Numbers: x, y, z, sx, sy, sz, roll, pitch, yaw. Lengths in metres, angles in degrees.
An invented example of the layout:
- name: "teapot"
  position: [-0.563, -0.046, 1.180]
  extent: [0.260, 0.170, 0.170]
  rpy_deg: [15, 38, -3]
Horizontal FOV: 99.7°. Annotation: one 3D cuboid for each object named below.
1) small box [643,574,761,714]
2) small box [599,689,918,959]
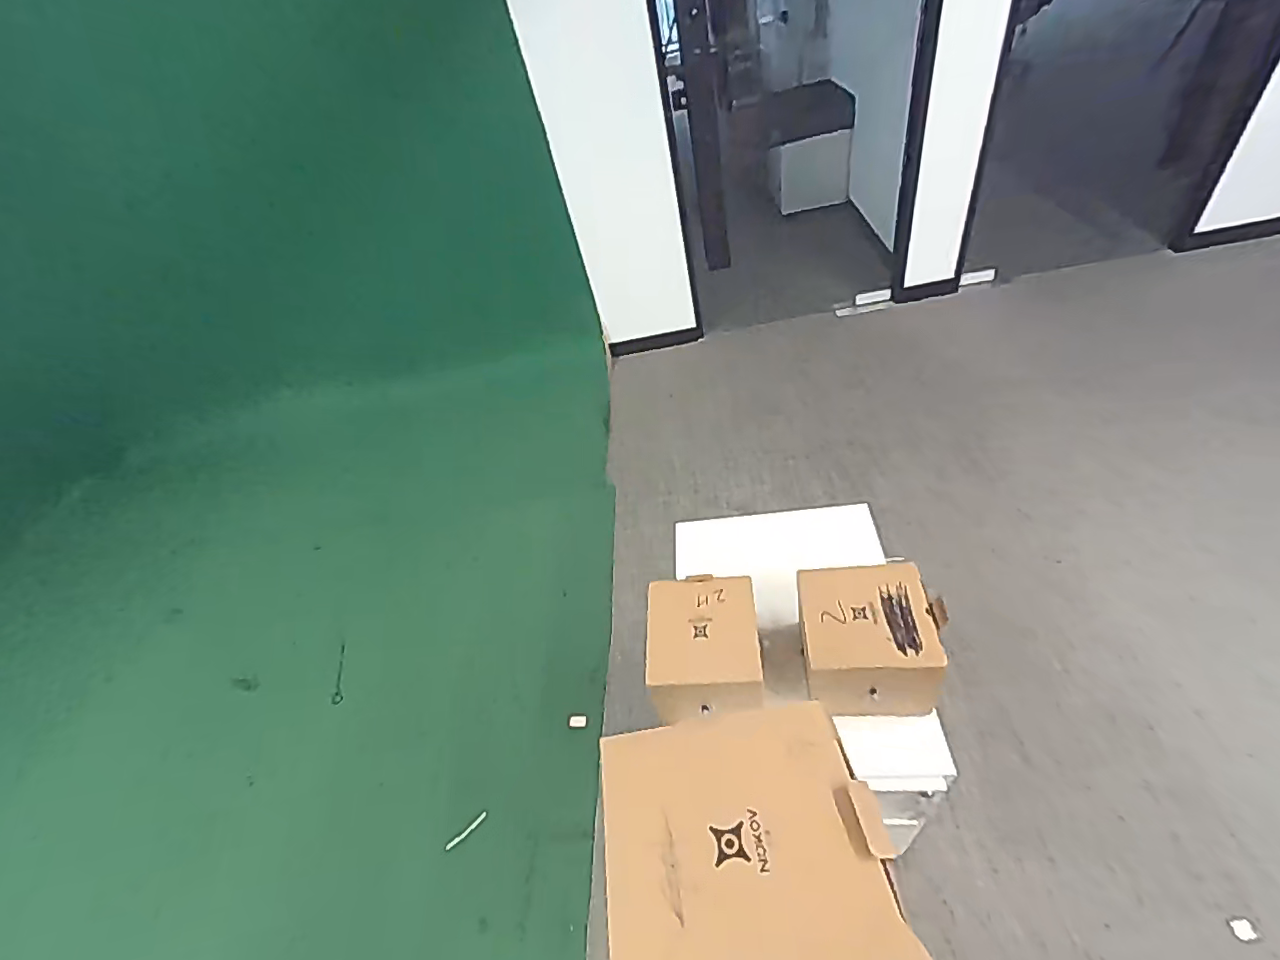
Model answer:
- name: "small box"
  position: [0.103, 0.273, 0.864]
  extent: [0.168, 0.176, 0.179]
  rpy_deg: [-5, 46, 9]
- name: "small box"
  position: [0.075, 0.286, 0.407]
  extent: [0.179, 0.176, 0.168]
  rpy_deg: [-13, 41, 4]
